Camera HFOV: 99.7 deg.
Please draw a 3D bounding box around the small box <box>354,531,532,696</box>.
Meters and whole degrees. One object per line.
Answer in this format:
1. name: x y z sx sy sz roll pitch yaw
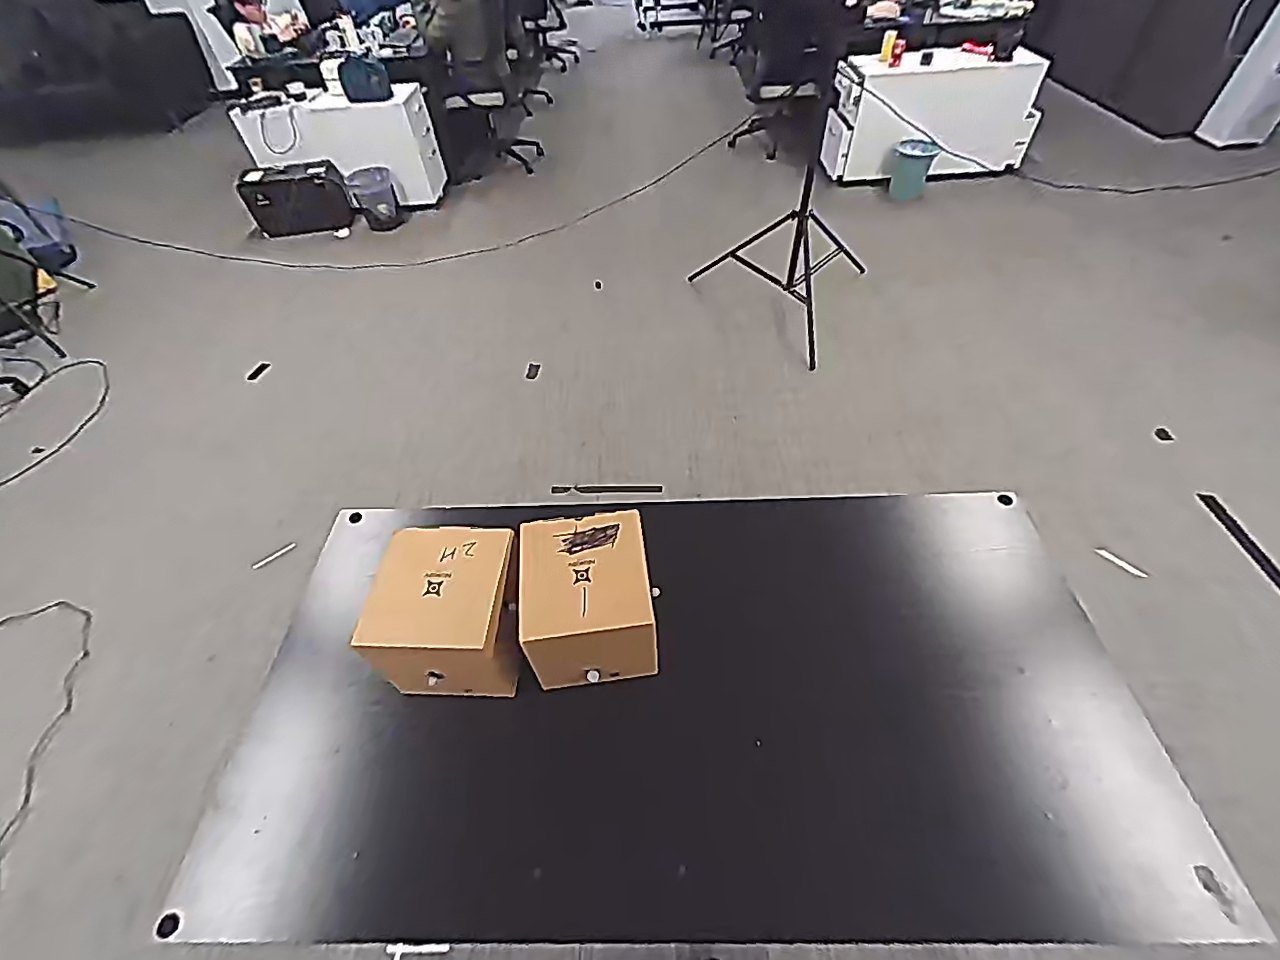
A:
1. small box: -0.257 0.190 0.759 0.168 0.176 0.179 0 49 3
